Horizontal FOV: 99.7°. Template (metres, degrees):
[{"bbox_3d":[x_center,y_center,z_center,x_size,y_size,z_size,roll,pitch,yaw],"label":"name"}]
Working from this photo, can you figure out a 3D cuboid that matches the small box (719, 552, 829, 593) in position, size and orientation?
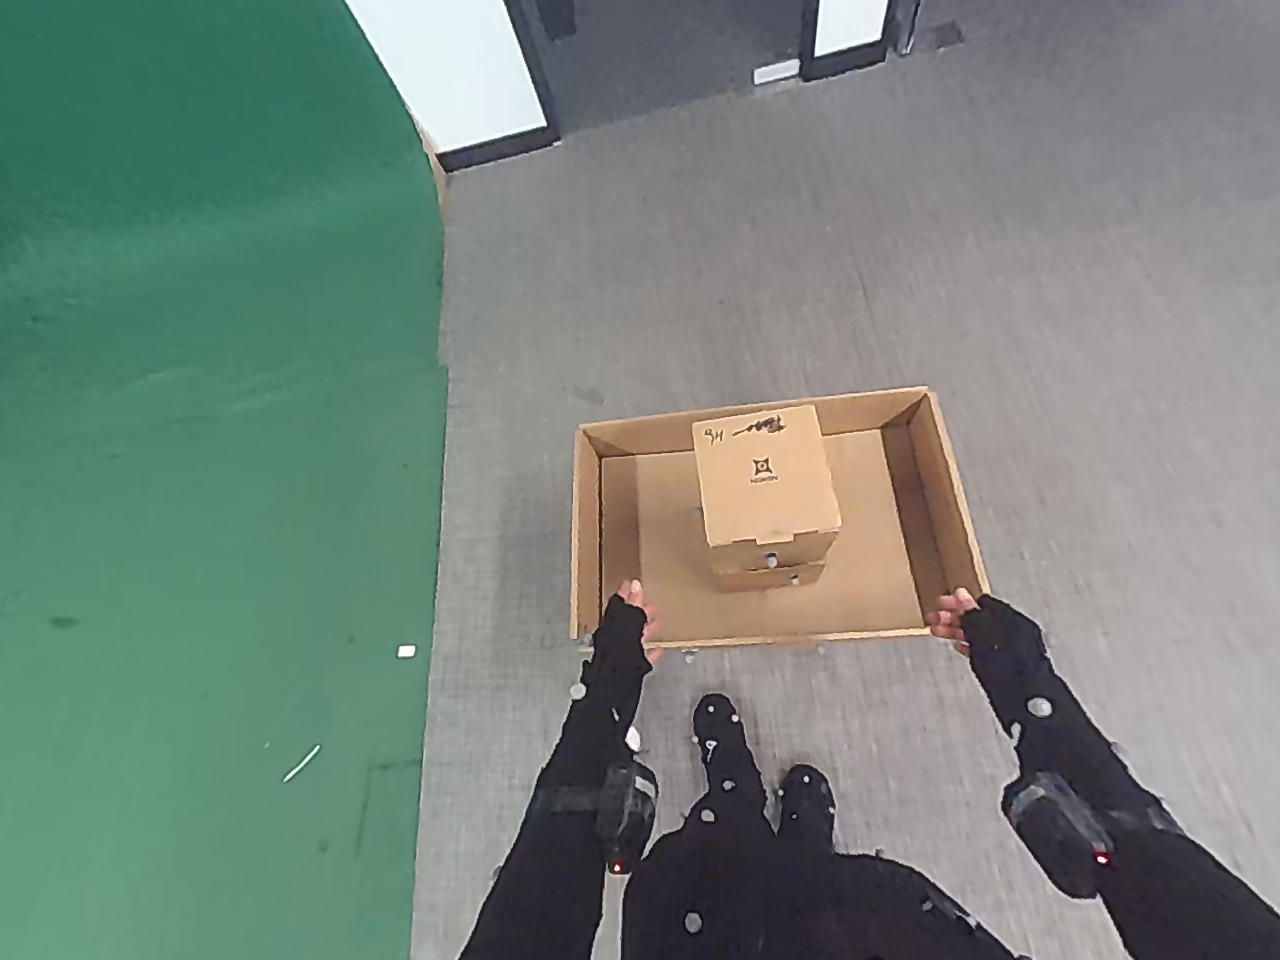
[{"bbox_3d":[0.212,0.089,0.915,0.168,0.176,0.179,-8,65,8],"label":"small box"}]

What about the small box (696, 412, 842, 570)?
[{"bbox_3d":[0.175,0.027,0.768,0.168,0.176,0.179,-7,68,7],"label":"small box"}]
